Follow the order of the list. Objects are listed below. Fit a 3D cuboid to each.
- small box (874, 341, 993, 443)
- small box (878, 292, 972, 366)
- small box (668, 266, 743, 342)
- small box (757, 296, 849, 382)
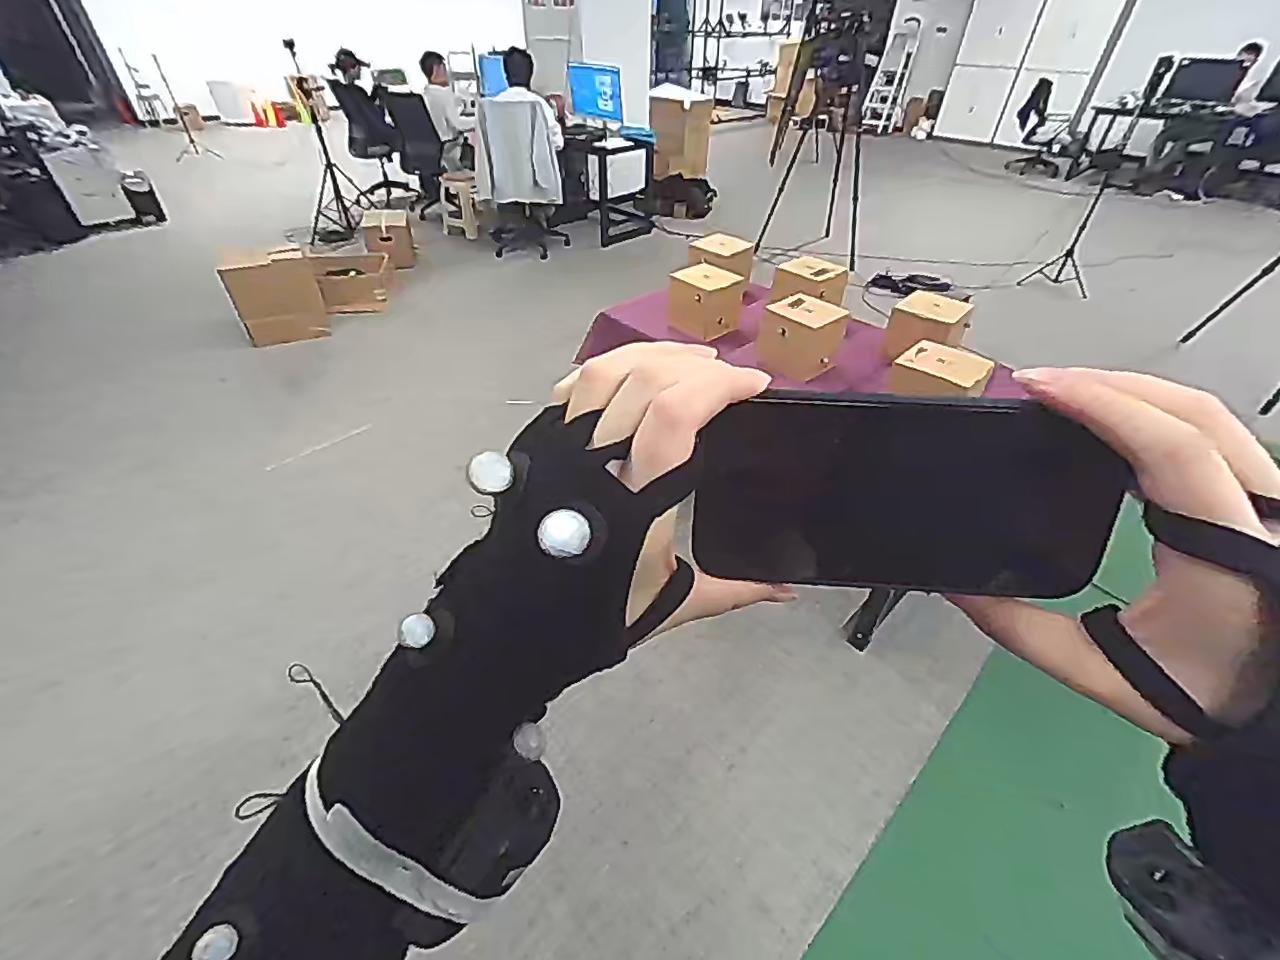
[{"bbox_3d":[0.711,-0.211,1.323,0.168,0.176,0.179,-32,50,-33],"label":"small box"},{"bbox_3d":[0.821,-0.423,1.572,0.168,0.176,0.179,32,50,32],"label":"small box"},{"bbox_3d":[0.203,-0.564,1.733,0.168,0.176,0.179,-30,50,-31],"label":"small box"},{"bbox_3d":[0.457,-0.404,1.548,0.168,0.176,0.179,-29,49,-30],"label":"small box"}]
